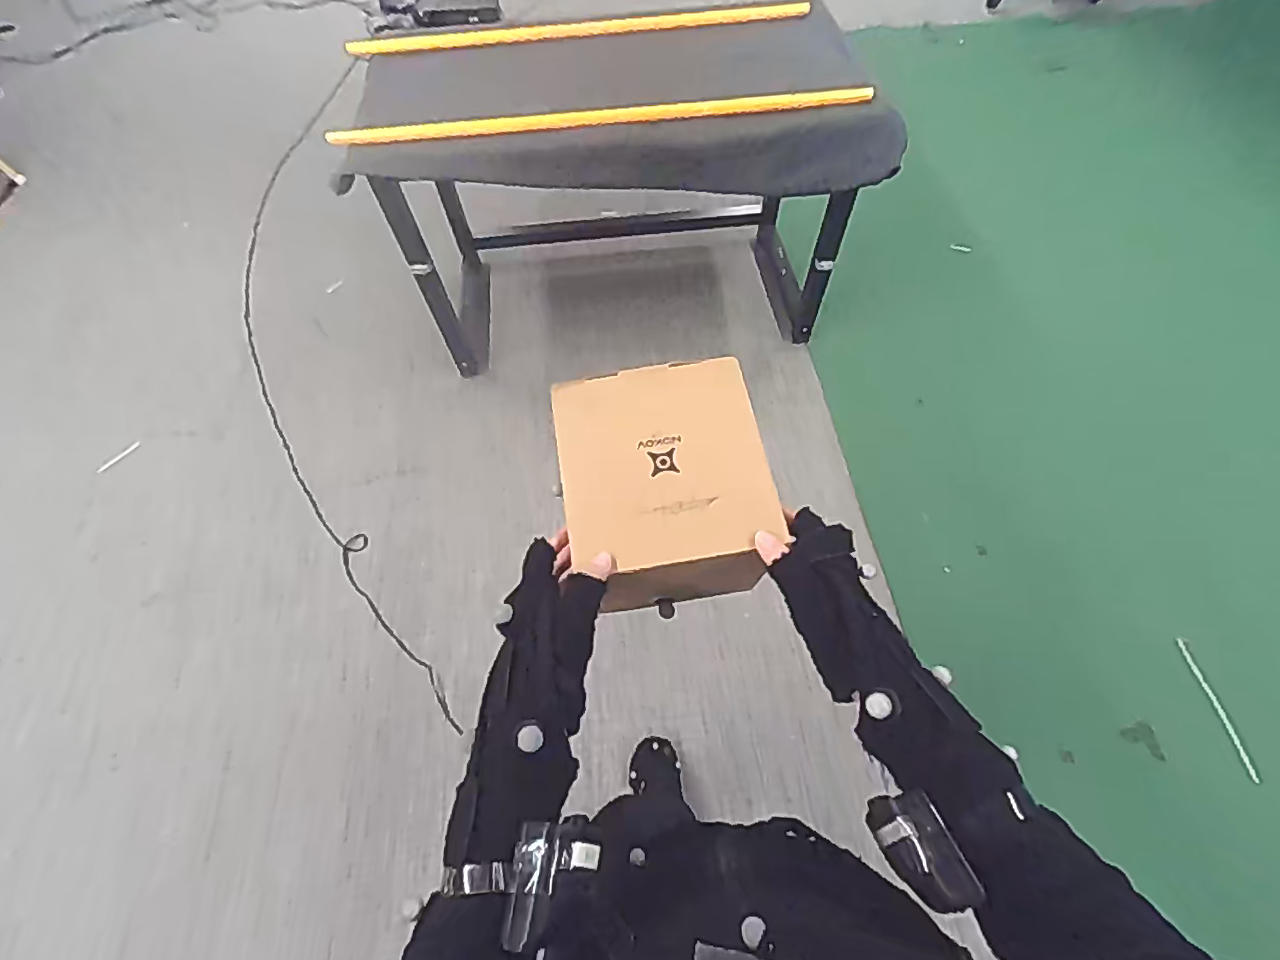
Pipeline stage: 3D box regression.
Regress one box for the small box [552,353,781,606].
[{"bbox_3d":[0.016,0.008,0.513,0.168,0.176,0.179,-9,67,-2],"label":"small box"}]
